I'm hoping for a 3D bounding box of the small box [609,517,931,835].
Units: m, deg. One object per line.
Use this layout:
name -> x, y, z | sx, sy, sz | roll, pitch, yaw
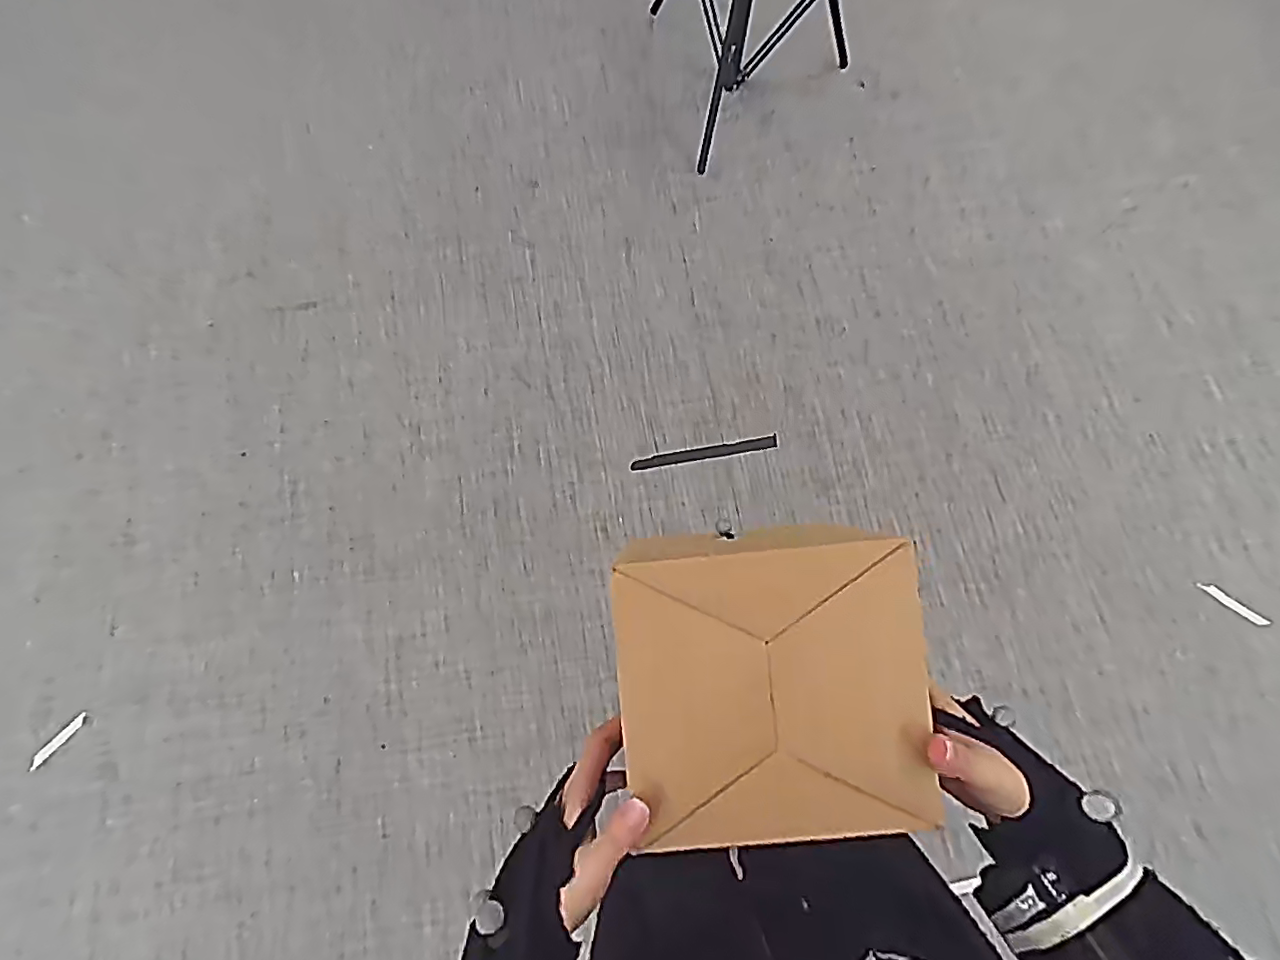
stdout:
small box -> 0.078, 0.120, 0.388 | 0.179, 0.176, 0.168 | -6, 88, 1
